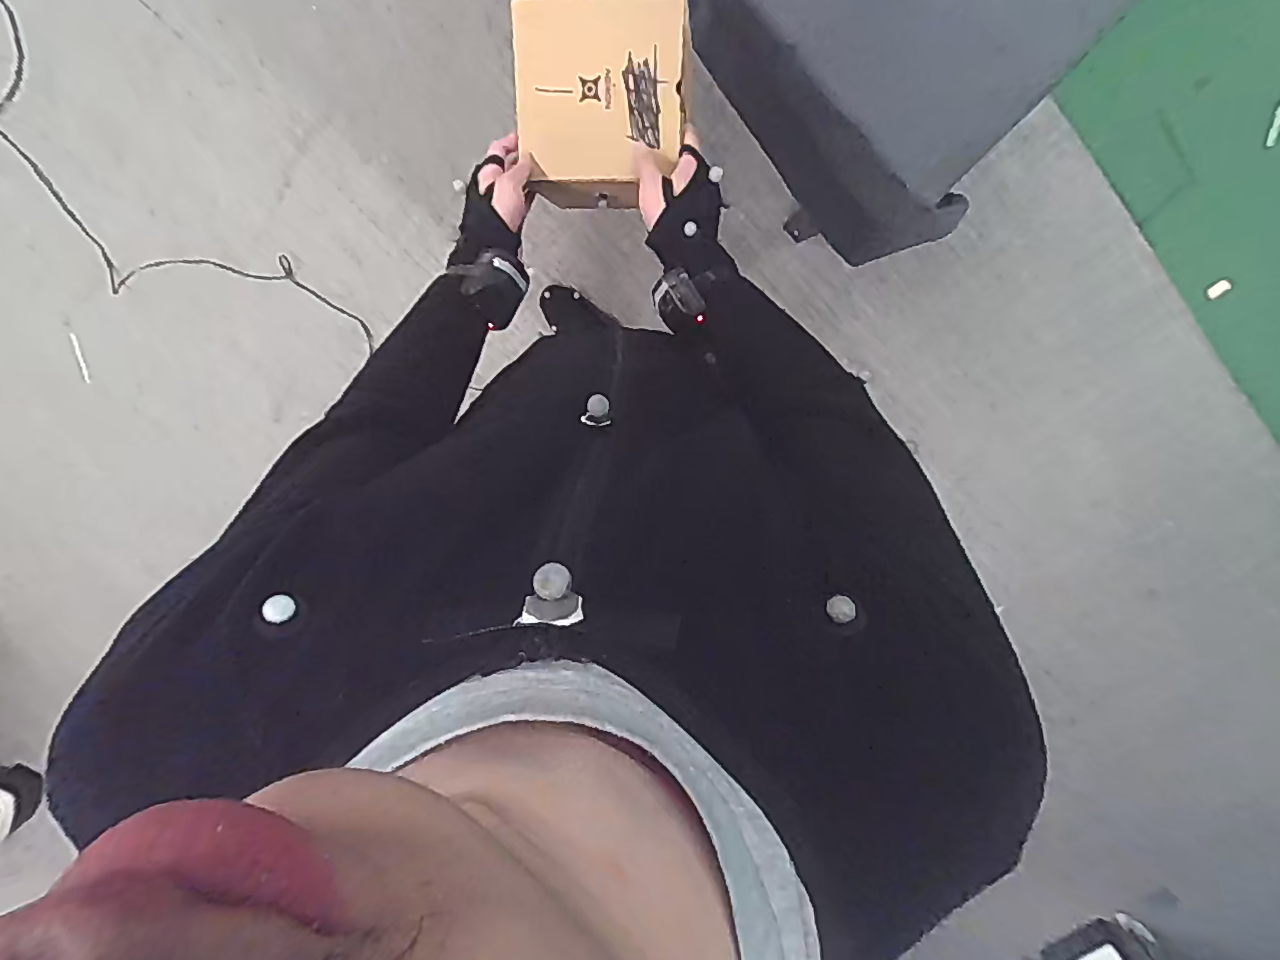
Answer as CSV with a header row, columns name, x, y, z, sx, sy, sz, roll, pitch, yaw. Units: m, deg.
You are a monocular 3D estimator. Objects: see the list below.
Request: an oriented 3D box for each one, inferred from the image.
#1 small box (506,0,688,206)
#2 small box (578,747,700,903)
name,x,y,z,sx,sy,sz,roll,pitch,yaw
small box,-0.037,-0.415,0.607,0.179,0.176,0.168,3,107,5
small box,0.002,0.689,1.094,0.179,0.176,0.168,-42,103,13
